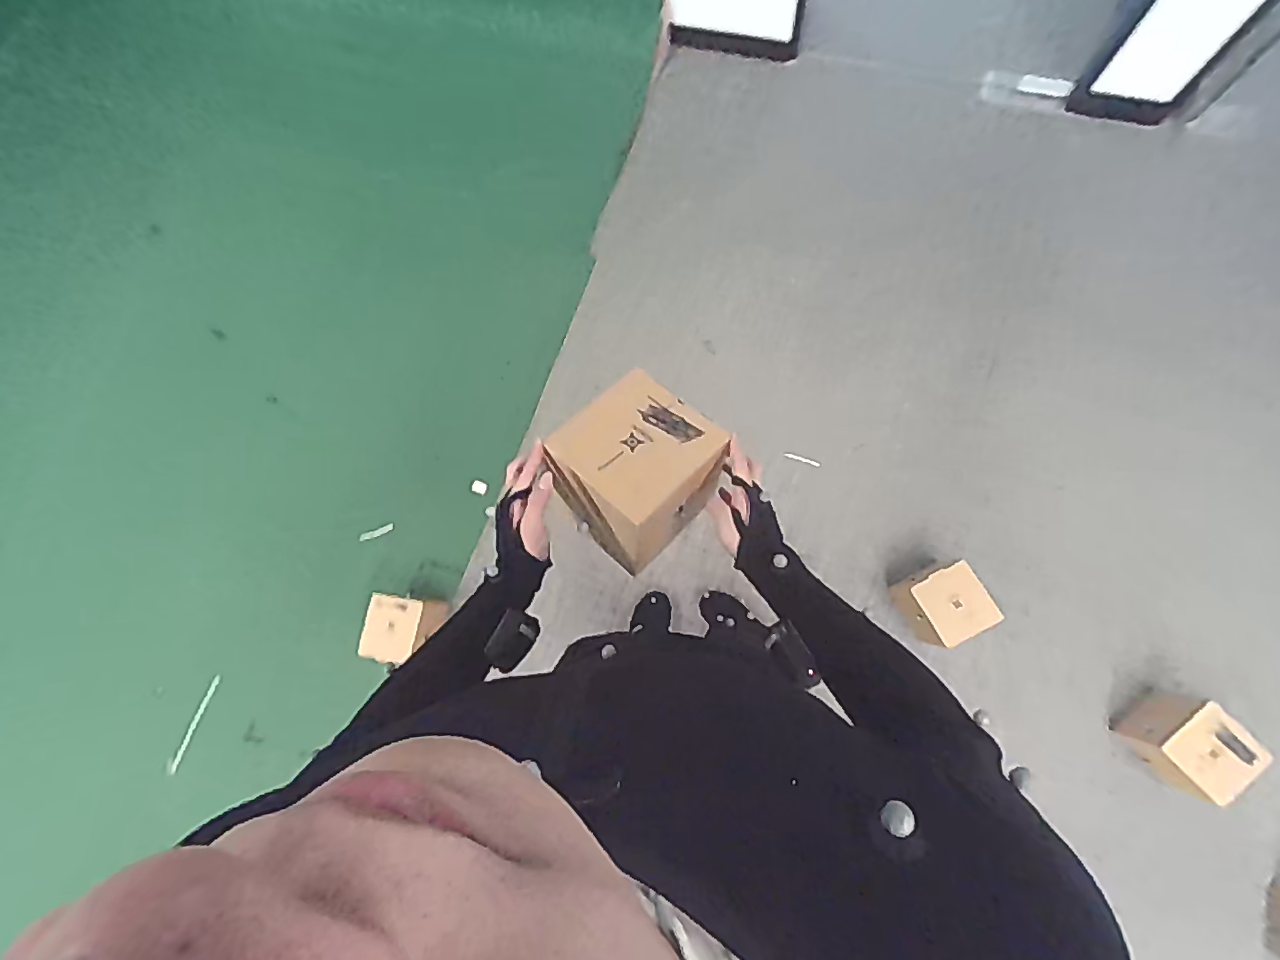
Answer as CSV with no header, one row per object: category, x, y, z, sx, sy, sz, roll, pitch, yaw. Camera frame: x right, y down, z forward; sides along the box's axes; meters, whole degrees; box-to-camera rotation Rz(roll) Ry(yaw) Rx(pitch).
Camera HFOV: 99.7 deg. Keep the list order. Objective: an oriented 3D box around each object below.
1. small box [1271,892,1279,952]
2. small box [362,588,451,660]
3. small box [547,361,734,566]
small box,1.594,1.044,1.208,0.179,0.176,0.168,15,82,10
small box,-0.693,0.427,1.626,0.168,0.176,0.179,8,80,9
small box,-0.001,-0.018,0.728,0.168,0.176,0.179,39,67,19
